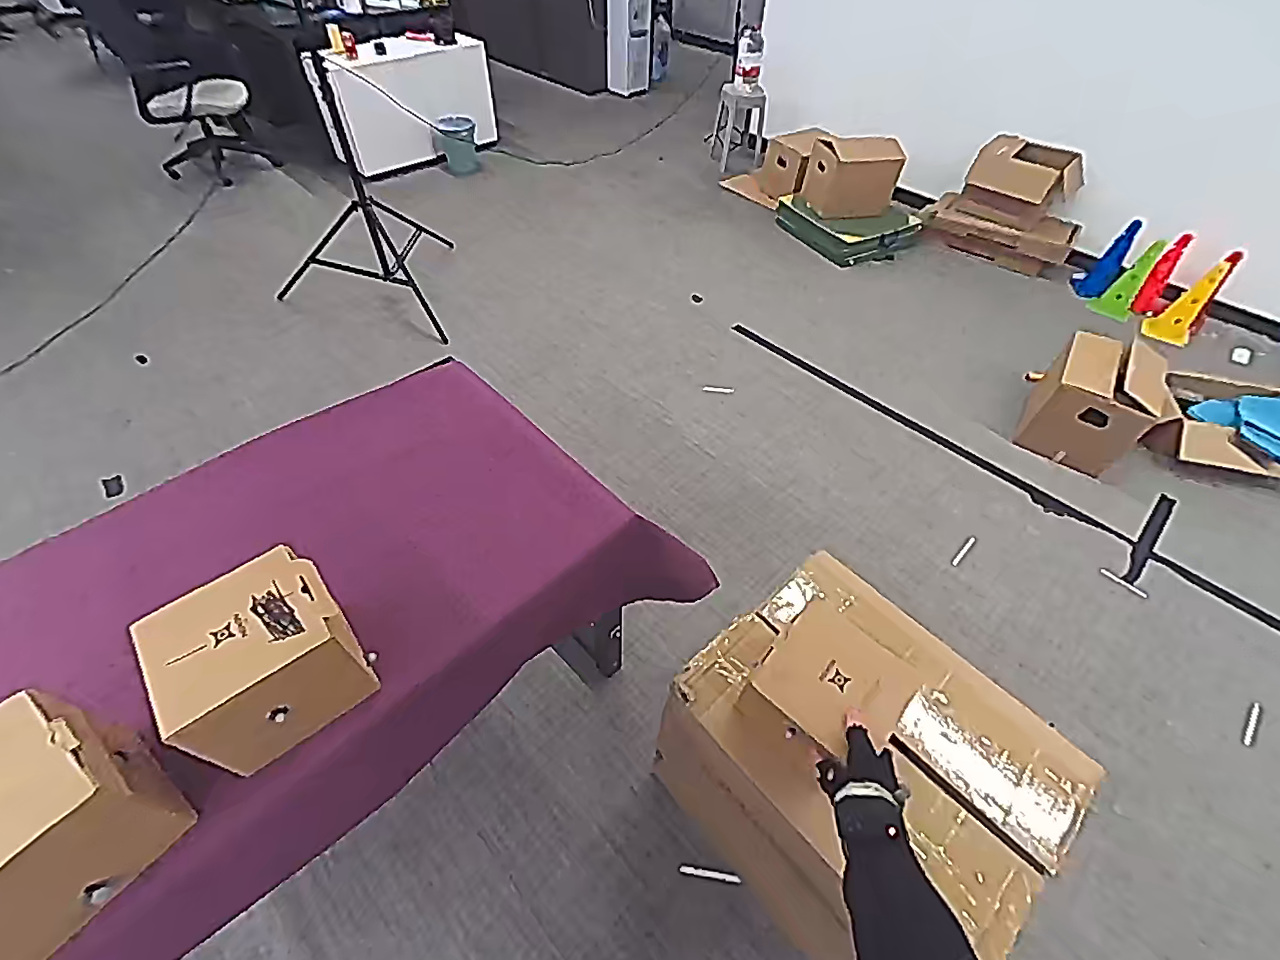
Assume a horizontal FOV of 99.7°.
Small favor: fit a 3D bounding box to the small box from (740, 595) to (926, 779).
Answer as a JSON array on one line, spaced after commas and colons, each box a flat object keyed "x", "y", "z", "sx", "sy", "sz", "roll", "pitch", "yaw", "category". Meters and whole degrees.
[{"x": 0.263, "y": 0.304, "z": 0.781, "sx": 0.179, "sy": 0.176, "sz": 0.168, "roll": 36, "pitch": 67, "yaw": 22, "category": "small box"}]

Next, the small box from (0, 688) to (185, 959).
[{"x": -0.630, "y": 0.362, "z": 0.563, "sx": 0.168, "sy": 0.176, "sz": 0.179, "roll": 29, "pitch": 53, "yaw": 21, "category": "small box"}]

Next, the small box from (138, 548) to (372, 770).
[{"x": -0.467, "y": 0.226, "z": 0.685, "sx": 0.179, "sy": 0.176, "sz": 0.168, "roll": -32, "pitch": 57, "yaw": -25, "category": "small box"}]
